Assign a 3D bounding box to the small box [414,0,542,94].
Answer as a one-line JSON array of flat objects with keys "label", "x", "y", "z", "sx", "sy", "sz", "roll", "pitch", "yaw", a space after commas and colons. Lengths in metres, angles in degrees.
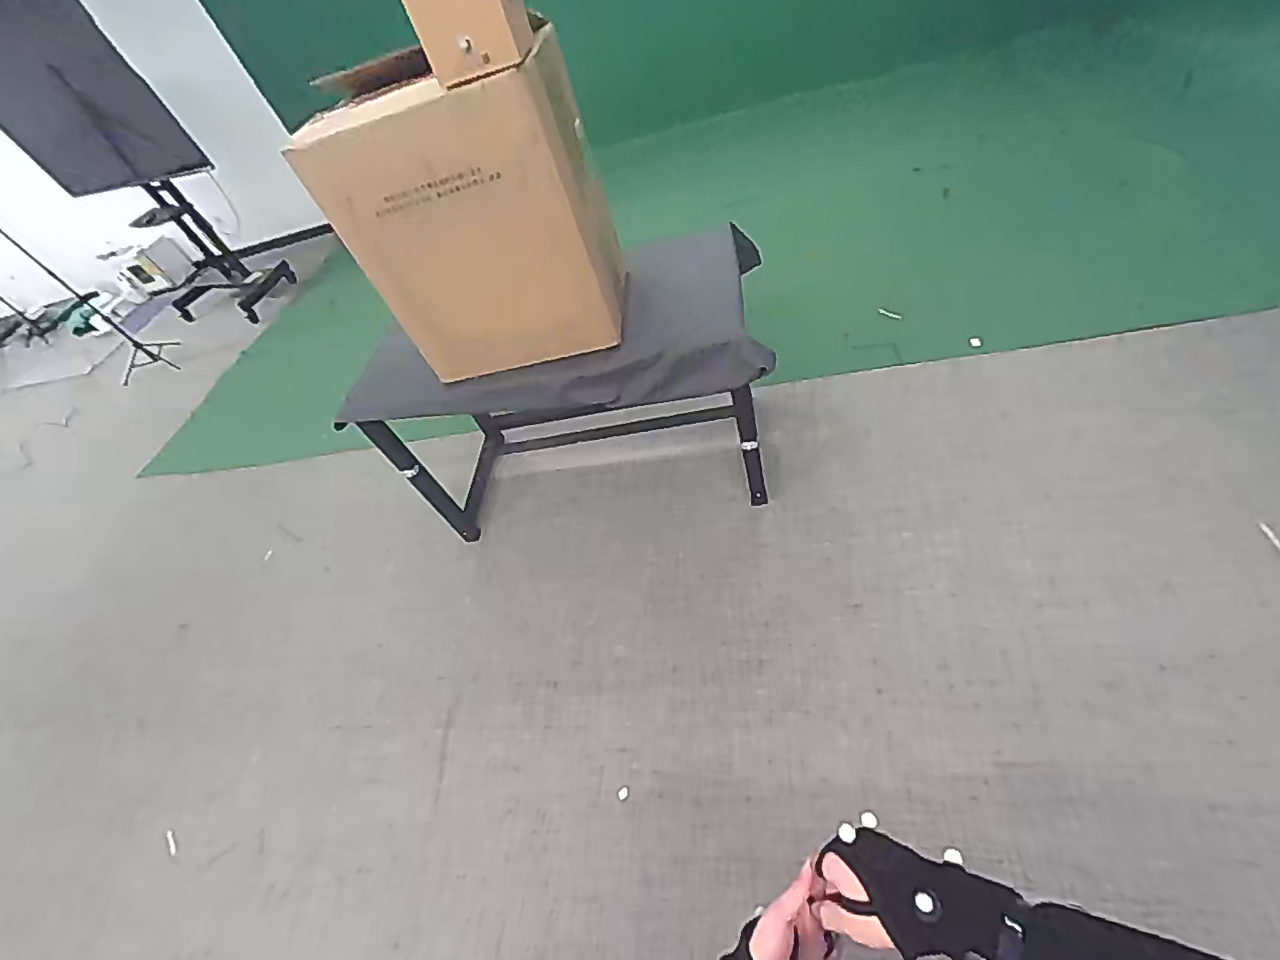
[{"label": "small box", "x": -0.292, "y": -0.847, "z": 0.996, "sx": 0.168, "sy": 0.176, "sz": 0.179, "roll": -9, "pitch": 50, "yaw": 12}]
